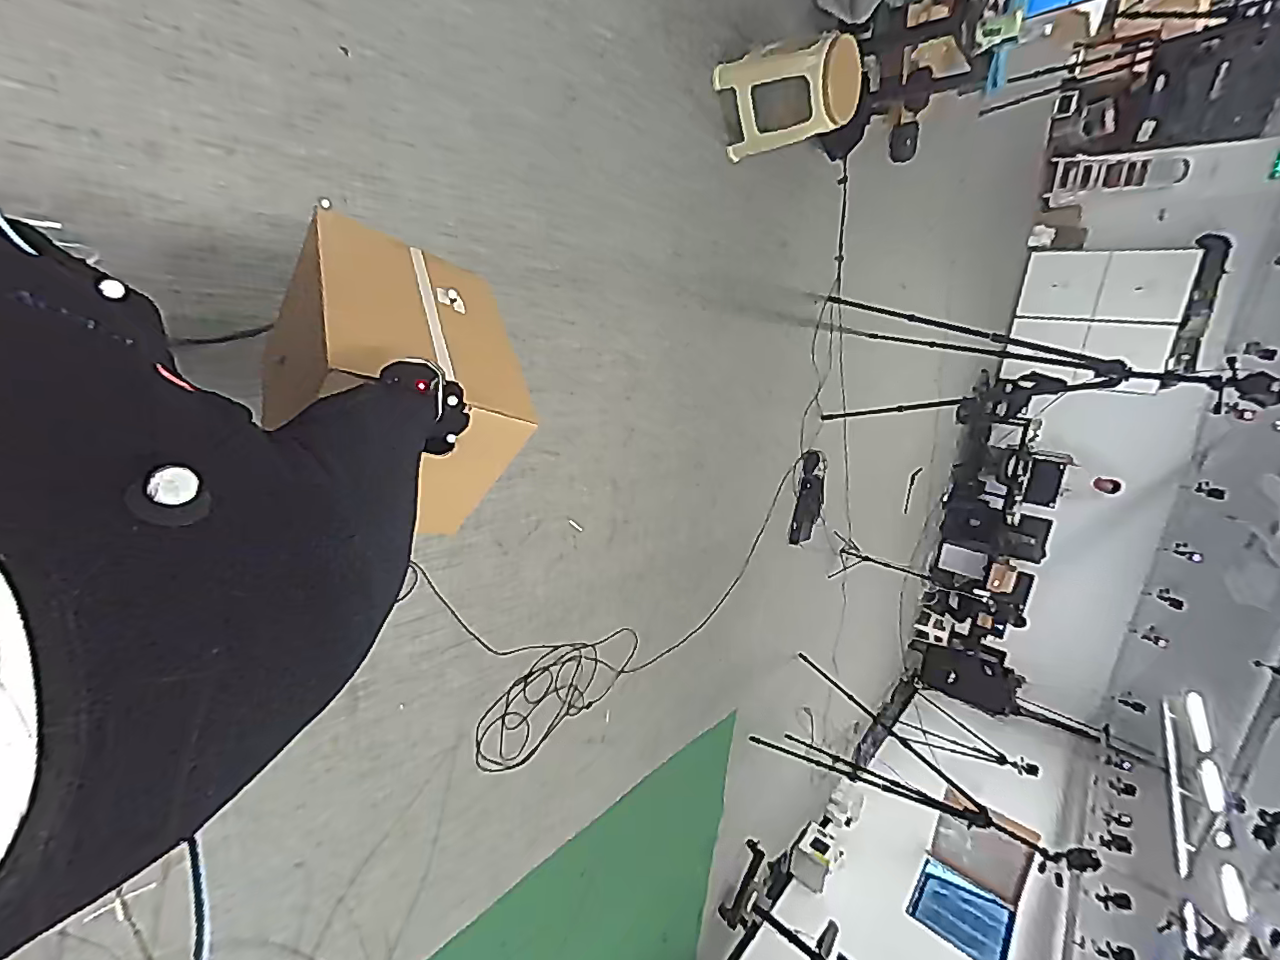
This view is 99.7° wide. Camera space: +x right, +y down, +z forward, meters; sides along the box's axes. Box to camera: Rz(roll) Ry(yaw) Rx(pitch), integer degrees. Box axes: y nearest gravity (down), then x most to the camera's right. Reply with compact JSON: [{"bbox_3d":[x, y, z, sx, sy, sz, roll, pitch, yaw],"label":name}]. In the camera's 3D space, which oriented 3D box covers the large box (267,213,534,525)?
[{"bbox_3d":[-0.441,-0.173,0.955,0.320,0.408,0.320,13,131,-44],"label":"large box"}]
